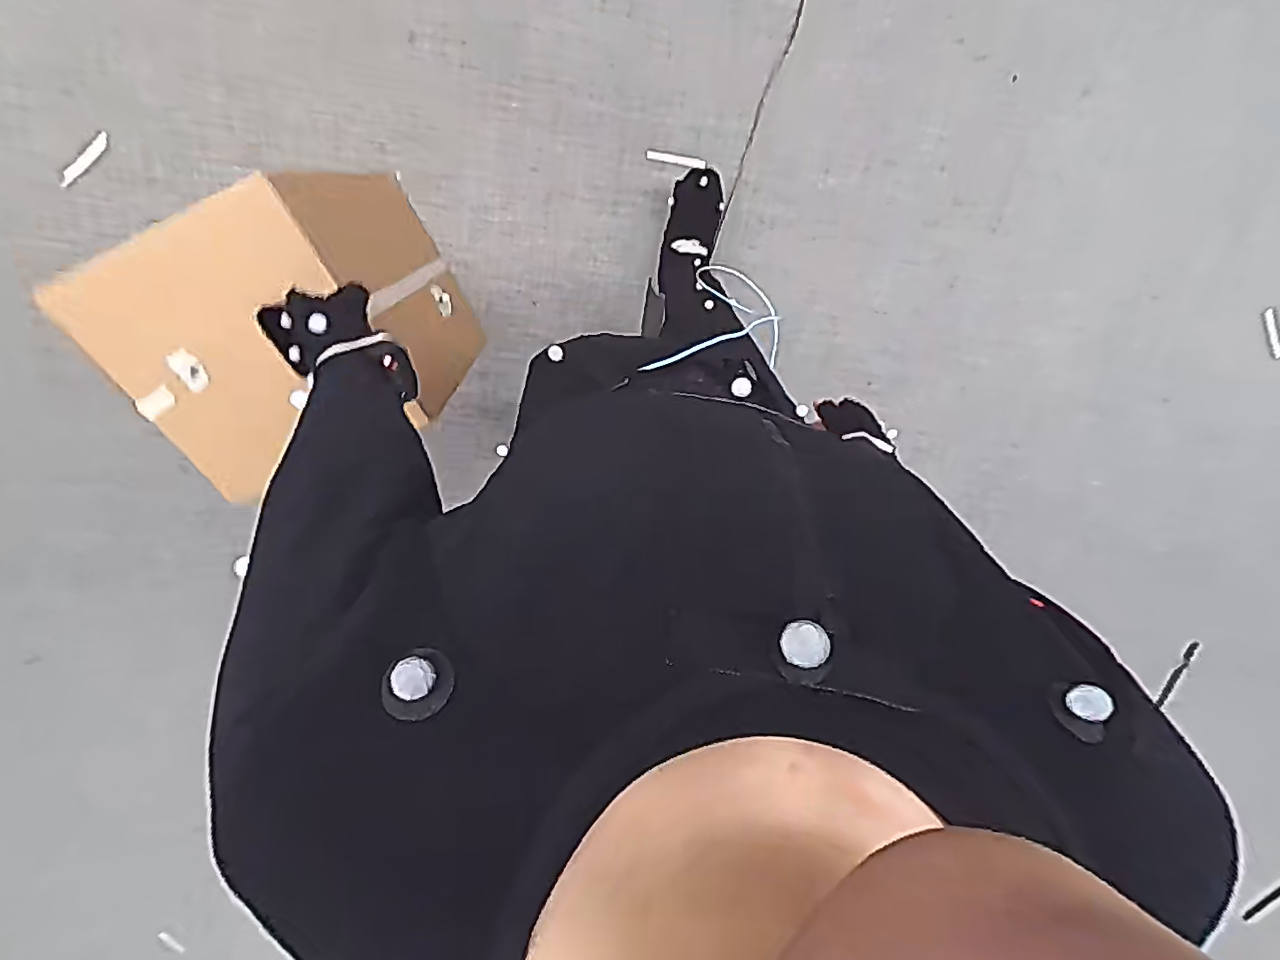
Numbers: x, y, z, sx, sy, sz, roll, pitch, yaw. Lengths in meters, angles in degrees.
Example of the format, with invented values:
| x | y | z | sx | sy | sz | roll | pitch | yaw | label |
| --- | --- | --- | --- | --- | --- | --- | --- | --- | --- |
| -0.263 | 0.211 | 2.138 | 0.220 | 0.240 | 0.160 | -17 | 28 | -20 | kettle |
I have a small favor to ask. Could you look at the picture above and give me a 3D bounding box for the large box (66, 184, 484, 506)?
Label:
| x | y | z | sx | sy | sz | roll | pitch | yaw | label |
| --- | --- | --- | --- | --- | --- | --- | --- | --- | --- |
| -0.491 | -0.229 | 0.842 | 0.320 | 0.408 | 0.320 | -22 | 118 | 8 | large box |
